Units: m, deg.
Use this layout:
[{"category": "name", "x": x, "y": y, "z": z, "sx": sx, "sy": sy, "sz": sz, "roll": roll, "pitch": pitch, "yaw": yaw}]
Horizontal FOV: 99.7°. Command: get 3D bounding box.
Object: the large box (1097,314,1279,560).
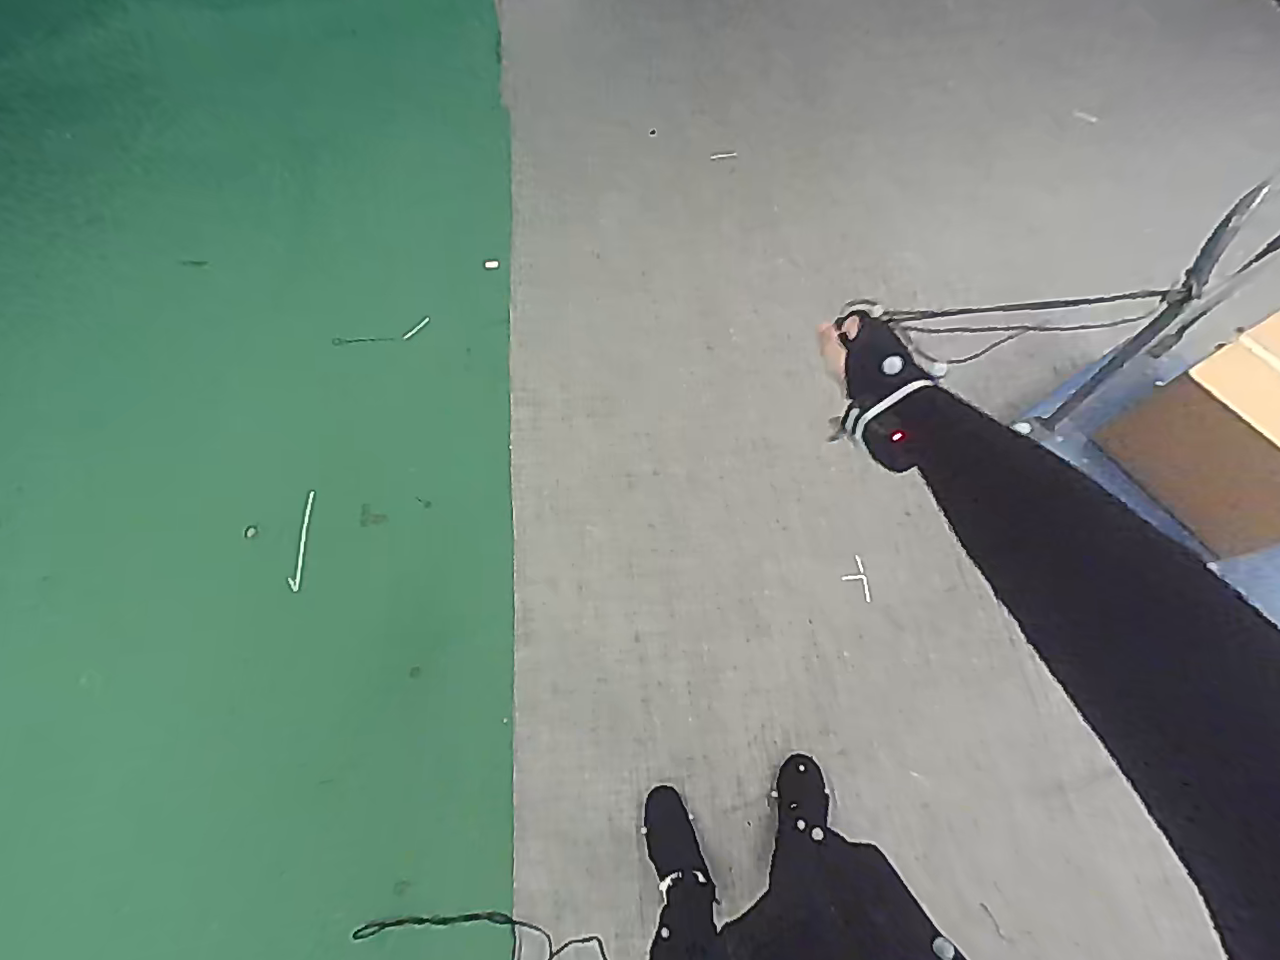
[{"category": "large box", "x": 1.412, "y": -0.091, "z": 1.235, "sx": 0.320, "sy": 0.320, "sz": 0.408, "roll": -31, "pitch": 69, "yaw": -8}]
